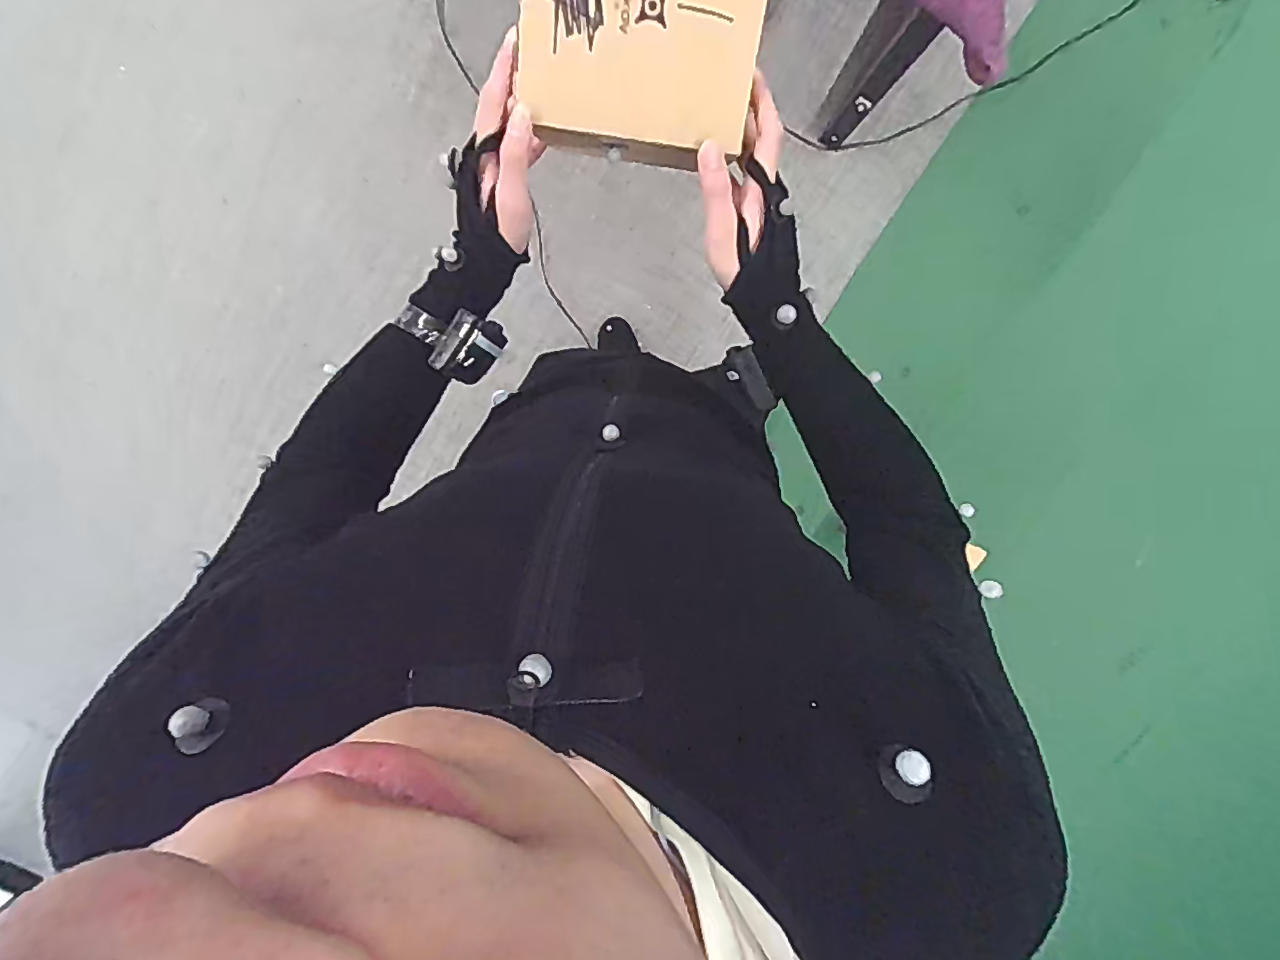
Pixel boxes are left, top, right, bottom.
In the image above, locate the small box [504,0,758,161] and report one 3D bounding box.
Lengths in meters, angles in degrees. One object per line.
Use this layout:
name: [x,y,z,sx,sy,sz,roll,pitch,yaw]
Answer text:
small box: [-0.001,-0.372,0.442,0.179,0.176,0.168,8,115,-1]
